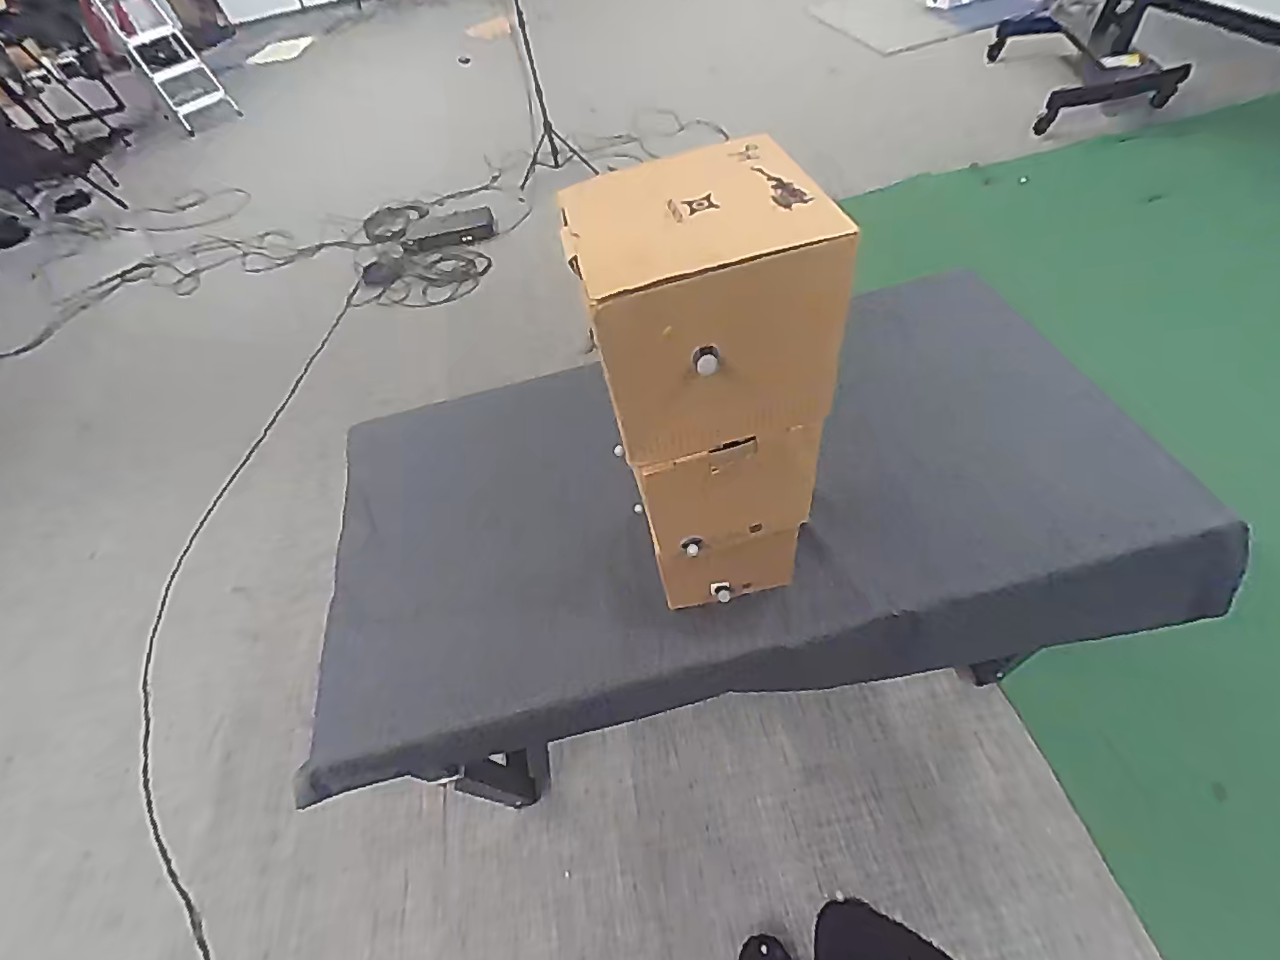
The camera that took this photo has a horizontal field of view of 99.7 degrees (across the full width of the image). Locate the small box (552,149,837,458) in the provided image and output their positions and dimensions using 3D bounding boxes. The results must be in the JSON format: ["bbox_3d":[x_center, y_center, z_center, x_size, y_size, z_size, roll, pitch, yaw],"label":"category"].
[{"bbox_3d":[0.042,-0.143,0.458,0.179,0.176,0.168,-17,50,-3],"label":"small box"}]

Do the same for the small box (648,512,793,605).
[{"bbox_3d":[0.090,0.042,0.722,0.168,0.176,0.179,-14,54,1],"label":"small box"}]

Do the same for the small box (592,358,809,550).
[{"bbox_3d":[0.064,-0.044,0.584,0.168,0.176,0.179,-20,53,-3],"label":"small box"}]
